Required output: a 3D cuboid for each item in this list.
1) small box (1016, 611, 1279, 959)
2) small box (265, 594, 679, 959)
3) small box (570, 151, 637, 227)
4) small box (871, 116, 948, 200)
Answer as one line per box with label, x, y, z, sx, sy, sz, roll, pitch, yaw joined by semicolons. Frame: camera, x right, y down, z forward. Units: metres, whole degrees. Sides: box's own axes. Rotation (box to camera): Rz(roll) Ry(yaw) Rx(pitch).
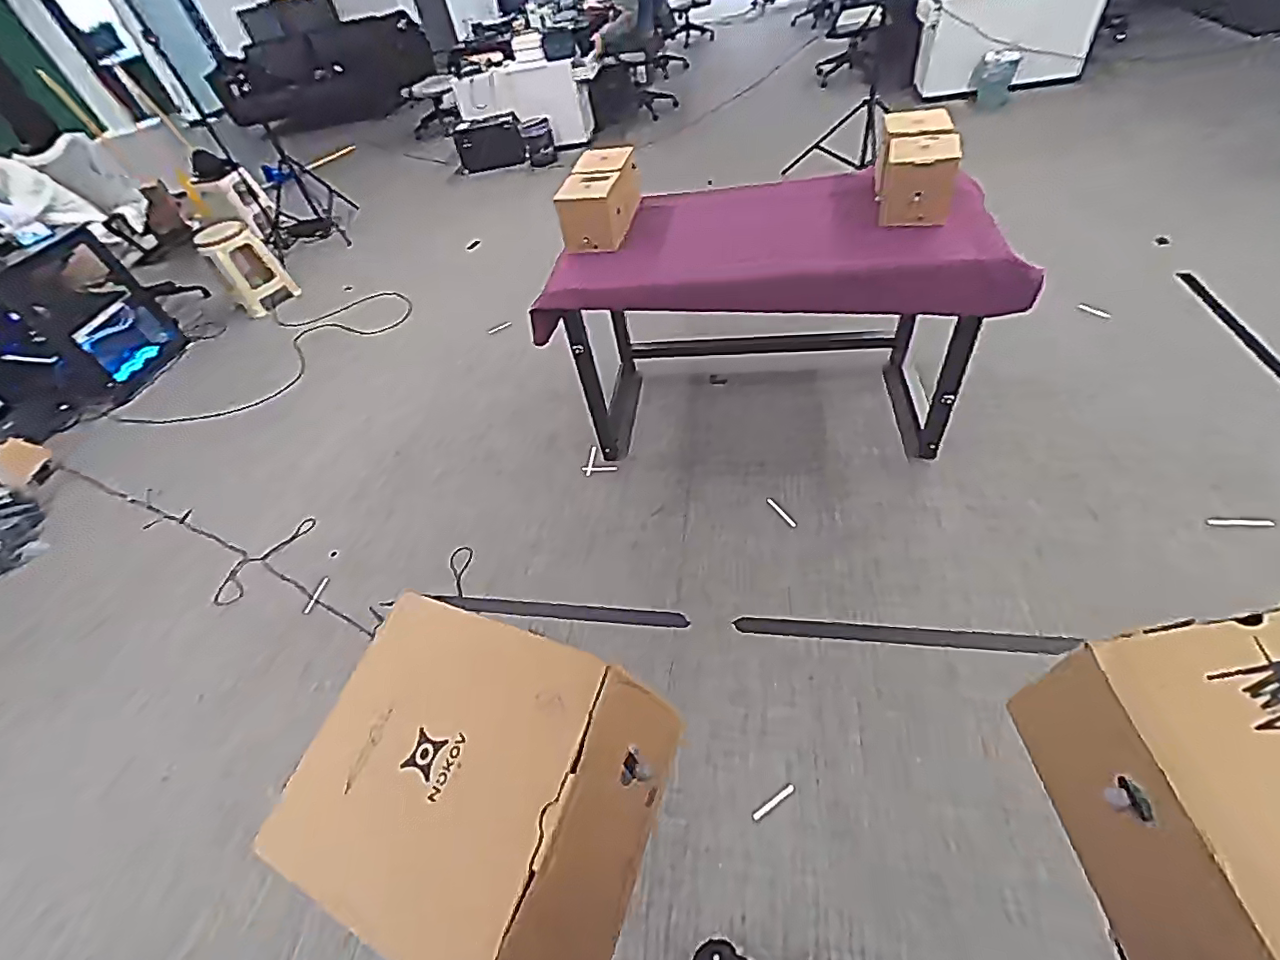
small box;0.363;0.189;0.313;0.168;0.176;0.179;-14;55;9
small box;-0.090;0.203;0.374;0.179;0.176;0.168;9;60;27
small box;-0.113;-0.958;1.784;0.168;0.176;0.179;4;51;15
small box;0.786;-0.949;1.594;0.168;0.176;0.179;4;49;14
